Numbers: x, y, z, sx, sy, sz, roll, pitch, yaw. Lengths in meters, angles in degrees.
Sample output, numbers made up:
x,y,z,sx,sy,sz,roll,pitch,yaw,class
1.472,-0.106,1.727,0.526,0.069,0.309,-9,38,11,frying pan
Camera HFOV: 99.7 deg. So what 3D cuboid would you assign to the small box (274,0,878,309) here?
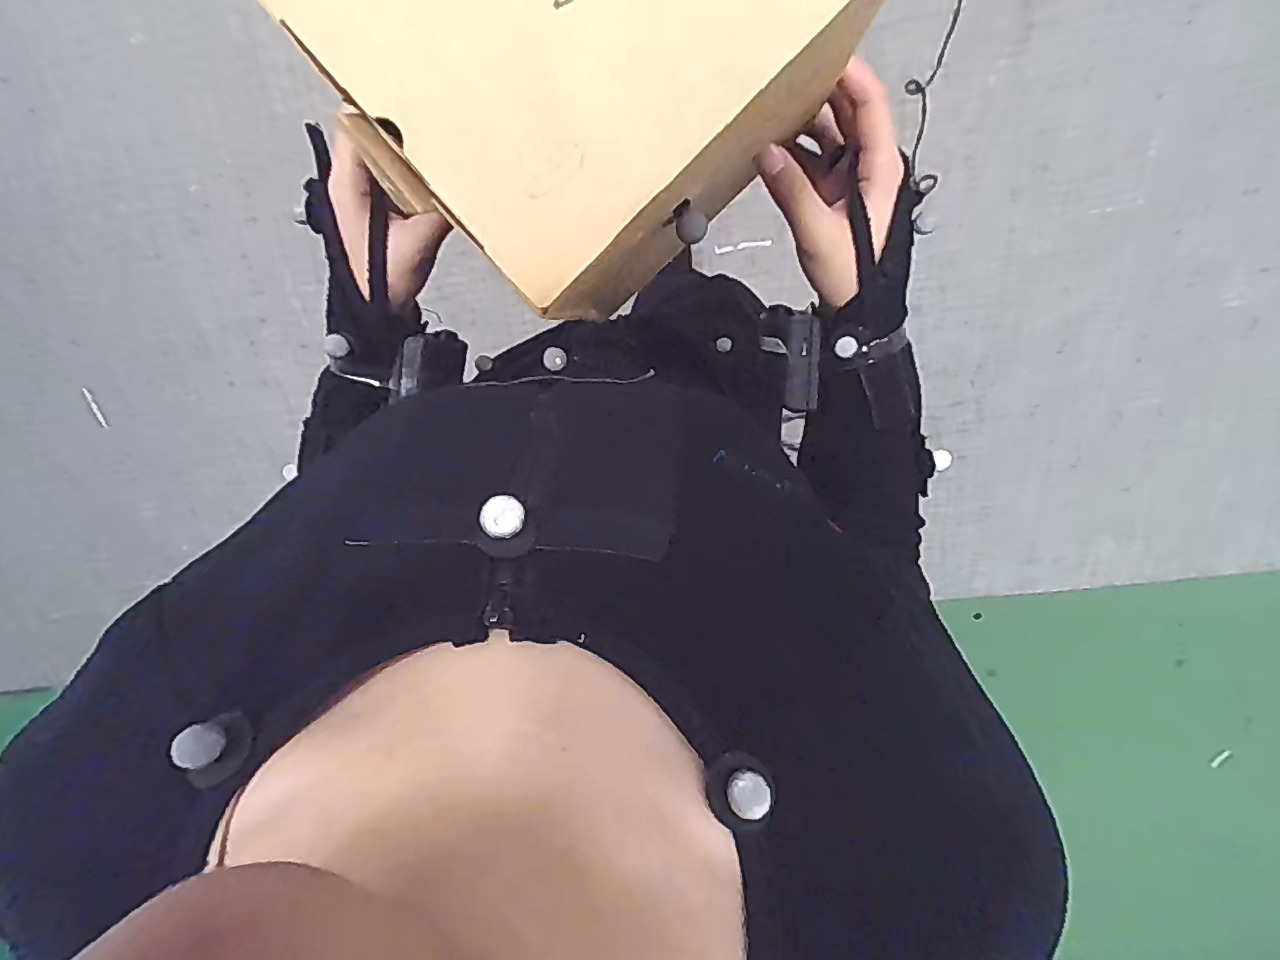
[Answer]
x,y,z,sx,sy,sz,roll,pitch,yaw,class
-0.016,-0.202,0.267,0.179,0.176,0.168,-41,99,15,small box
